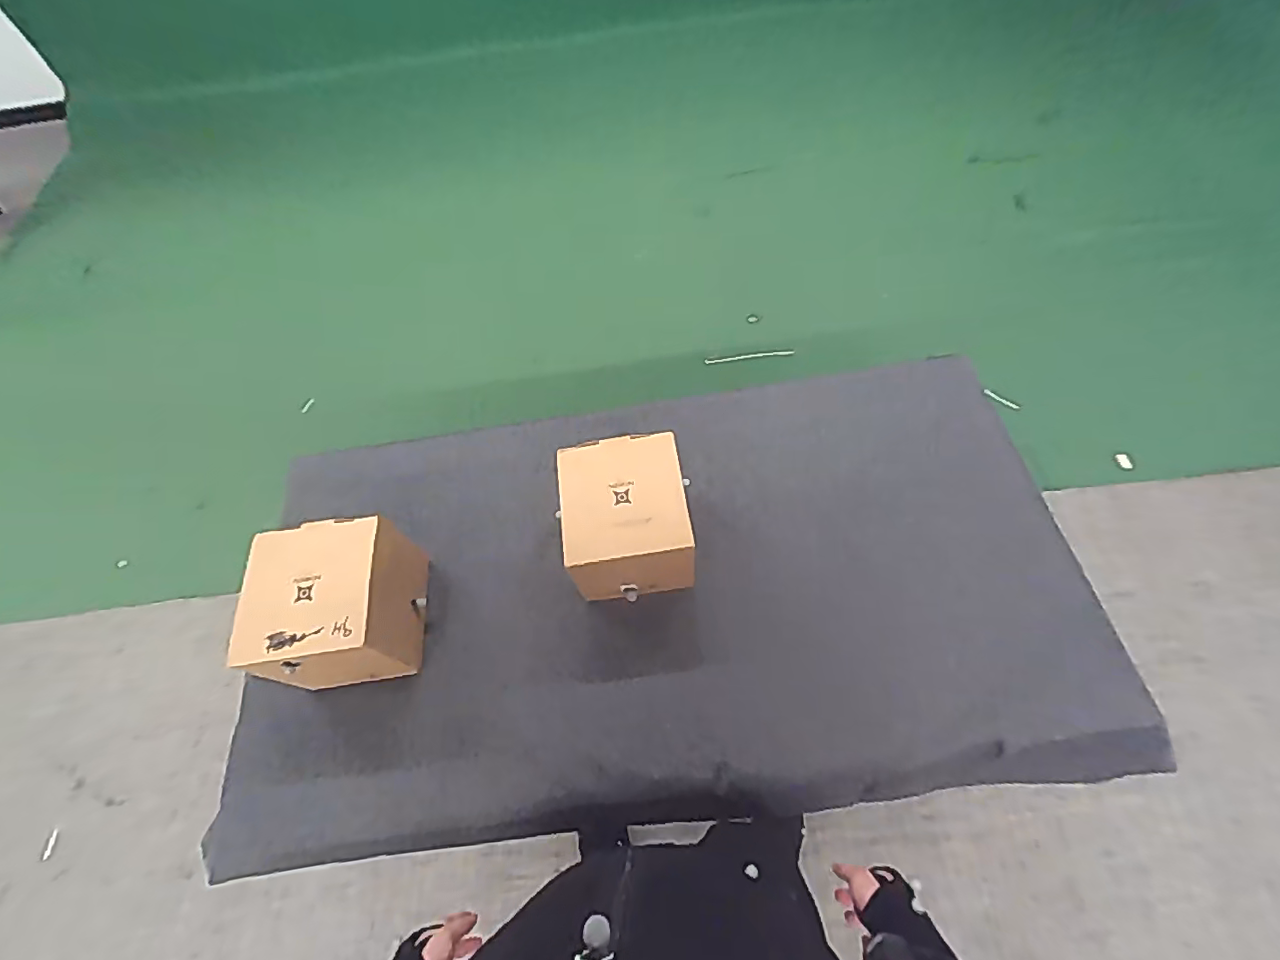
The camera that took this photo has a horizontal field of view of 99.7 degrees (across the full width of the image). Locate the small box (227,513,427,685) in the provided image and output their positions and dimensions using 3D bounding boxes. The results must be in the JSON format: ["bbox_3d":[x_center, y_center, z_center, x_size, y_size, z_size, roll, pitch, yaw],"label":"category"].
[{"bbox_3d":[-0.408,0.168,0.742,0.168,0.176,0.179,-9,61,0],"label":"small box"}]

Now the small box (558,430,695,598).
[{"bbox_3d":[-0.018,0.054,0.776,0.168,0.176,0.179,-10,63,1],"label":"small box"}]
